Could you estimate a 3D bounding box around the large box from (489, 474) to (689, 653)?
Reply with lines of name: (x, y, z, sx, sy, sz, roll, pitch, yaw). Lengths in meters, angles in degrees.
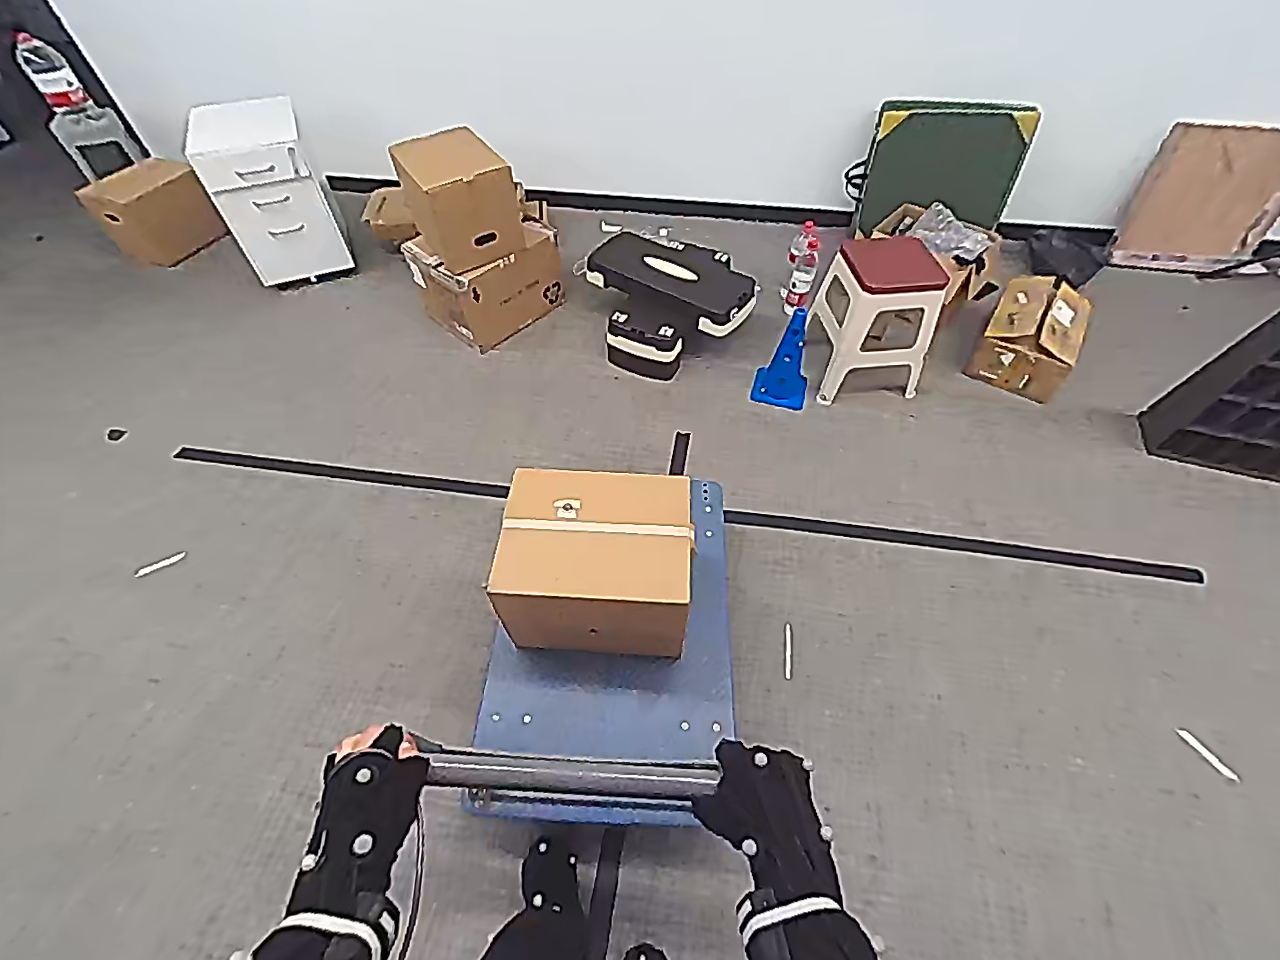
large box: (-0.092, 0.203, 1.271, 0.408, 0.320, 0.320, 3, 53, 3)
